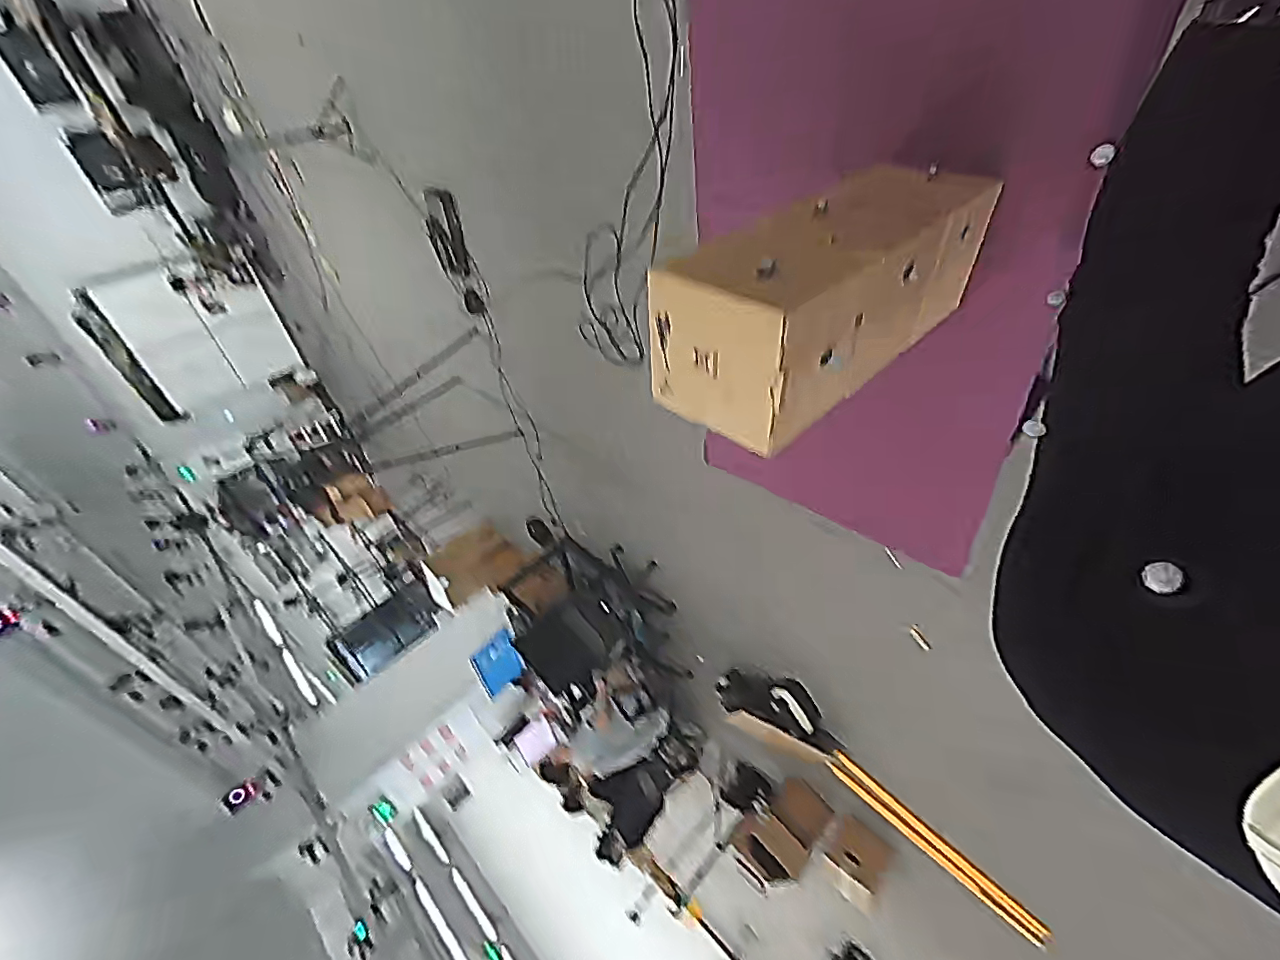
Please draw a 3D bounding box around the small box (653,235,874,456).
[{"bbox_3d":[0.135,-0.162,0.614,0.179,0.176,0.168,32,142,33],"label":"small box"}]
